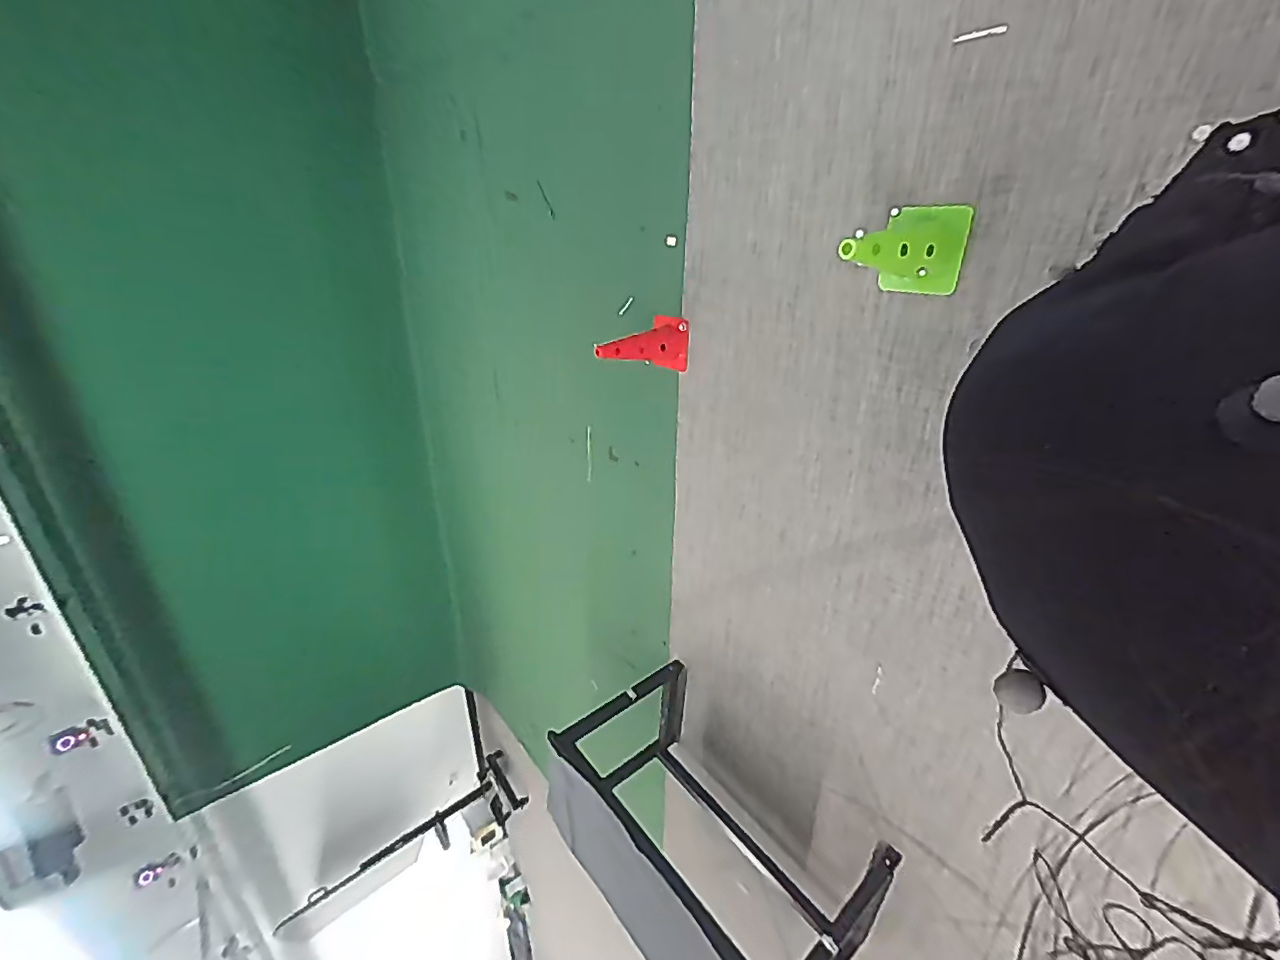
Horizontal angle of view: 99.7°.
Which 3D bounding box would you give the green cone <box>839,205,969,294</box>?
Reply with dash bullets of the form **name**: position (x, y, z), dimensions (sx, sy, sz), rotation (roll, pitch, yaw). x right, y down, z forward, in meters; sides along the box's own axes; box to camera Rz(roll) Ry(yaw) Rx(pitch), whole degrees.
- **green cone**: position (0.572, -0.530, 1.255), dimensions (0.202, 0.368, 0.200), rotation (24, 123, 45)
